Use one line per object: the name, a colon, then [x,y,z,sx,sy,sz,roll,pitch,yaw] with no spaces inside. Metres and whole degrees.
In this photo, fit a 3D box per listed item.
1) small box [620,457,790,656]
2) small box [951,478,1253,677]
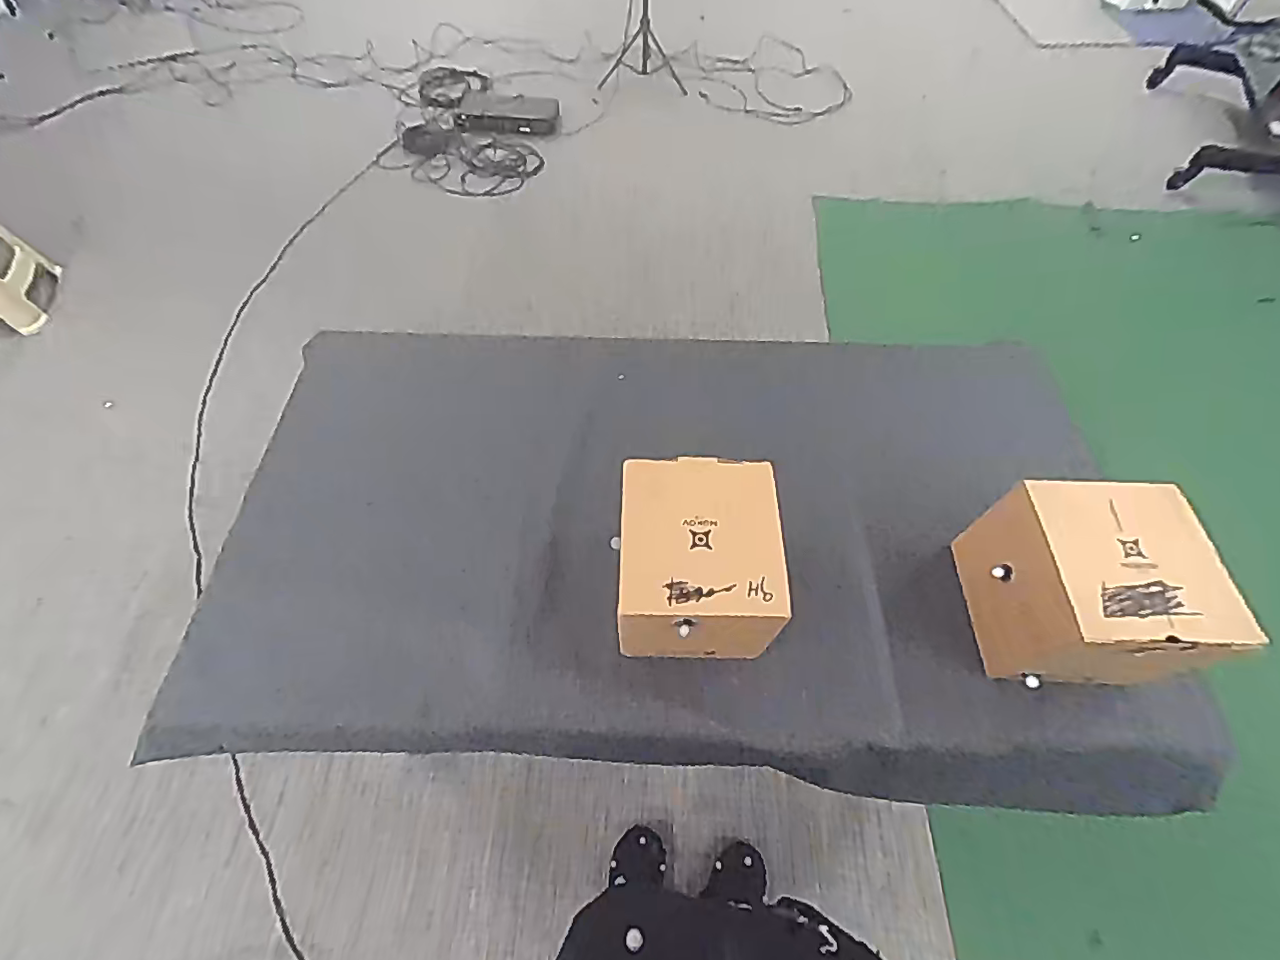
small box: [0.063,0.093,0.626,0.168,0.176,0.179,1,59,0]
small box: [0.489,0.116,0.611,0.168,0.176,0.179,2,58,2]
